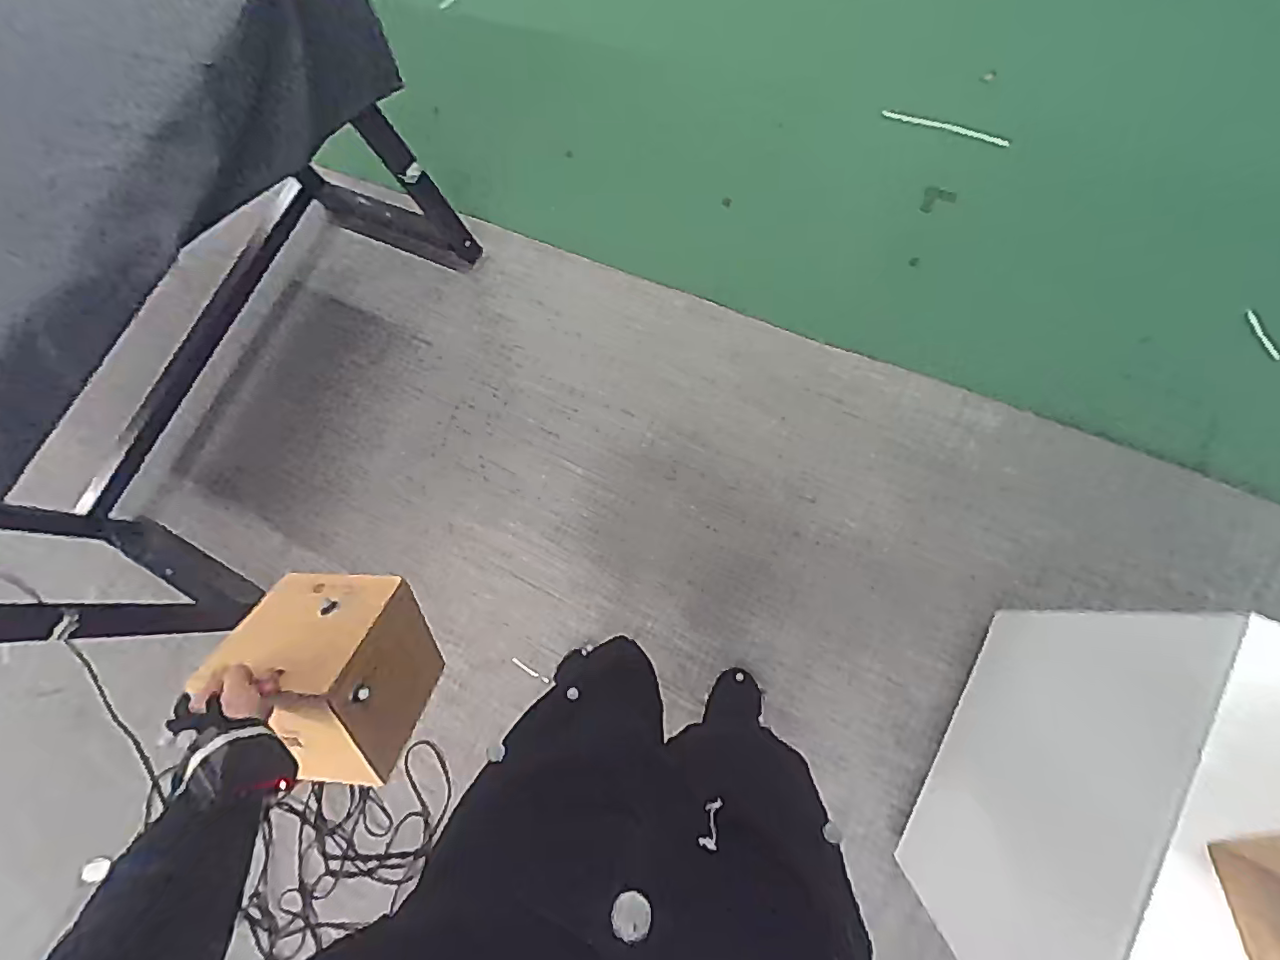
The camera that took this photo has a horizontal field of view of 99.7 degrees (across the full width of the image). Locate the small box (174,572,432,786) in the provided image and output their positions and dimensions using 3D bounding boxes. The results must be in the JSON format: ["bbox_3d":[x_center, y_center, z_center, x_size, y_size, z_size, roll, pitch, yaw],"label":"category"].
[{"bbox_3d":[-0.378,0.233,0.649,0.168,0.179,0.176,-1,33,9],"label":"small box"}]
